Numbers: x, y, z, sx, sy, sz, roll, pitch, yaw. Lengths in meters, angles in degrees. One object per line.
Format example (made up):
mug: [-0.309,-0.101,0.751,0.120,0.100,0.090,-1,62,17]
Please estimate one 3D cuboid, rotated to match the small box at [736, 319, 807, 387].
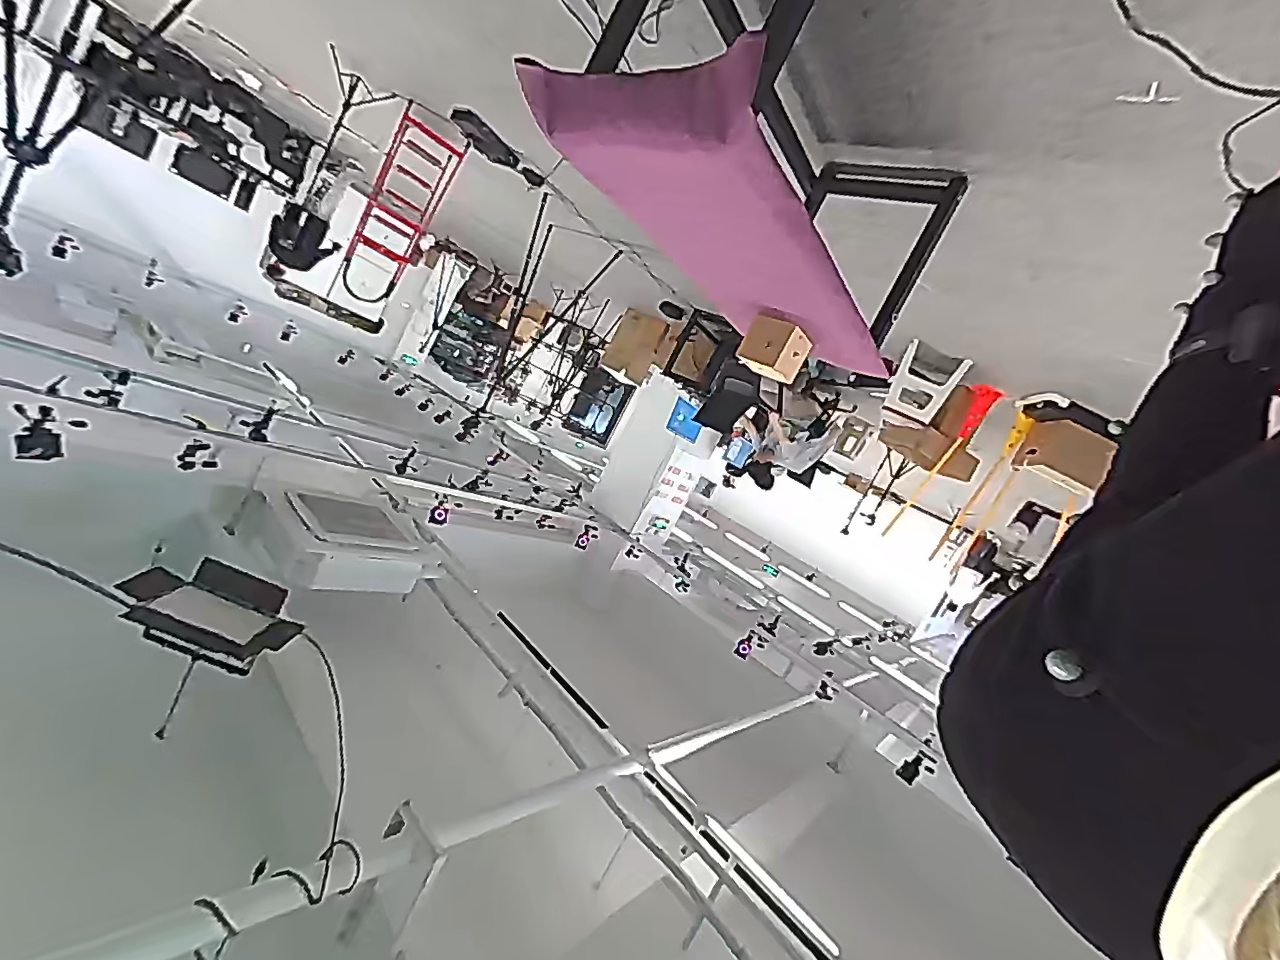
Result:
small box: [0.487,-0.467,1.971,0.179,0.176,0.168,31,-175,38]
